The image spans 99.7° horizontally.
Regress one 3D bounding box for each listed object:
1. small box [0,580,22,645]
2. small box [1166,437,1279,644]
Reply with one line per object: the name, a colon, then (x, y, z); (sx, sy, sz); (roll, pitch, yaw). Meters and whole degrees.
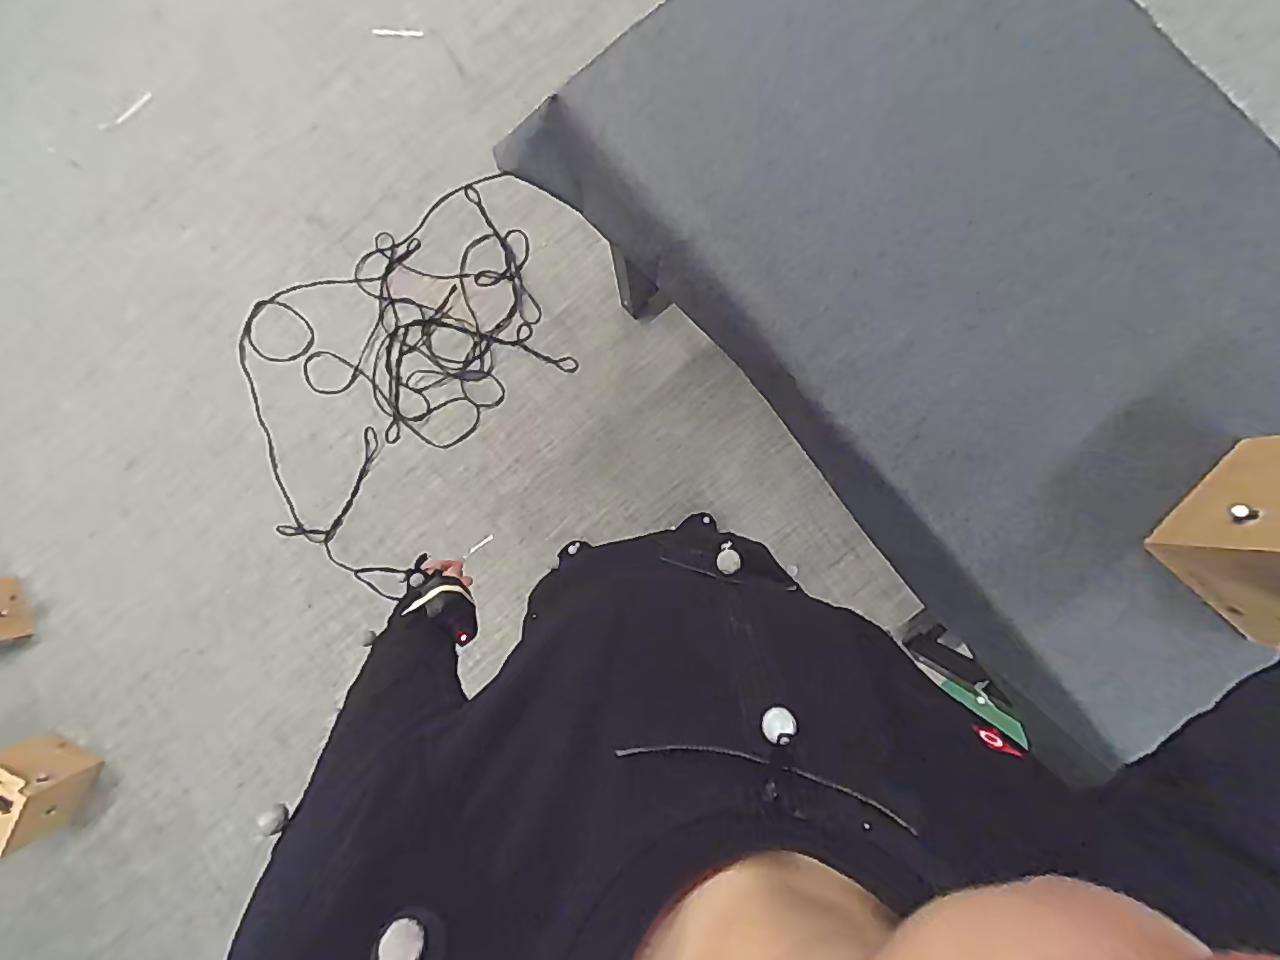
small box: (-1.713, 0.357, 1.333); (0.179, 0.176, 0.168); (-19, 87, 0)
small box: (0.699, 0.064, 0.539); (0.168, 0.176, 0.179); (44, 88, 4)
